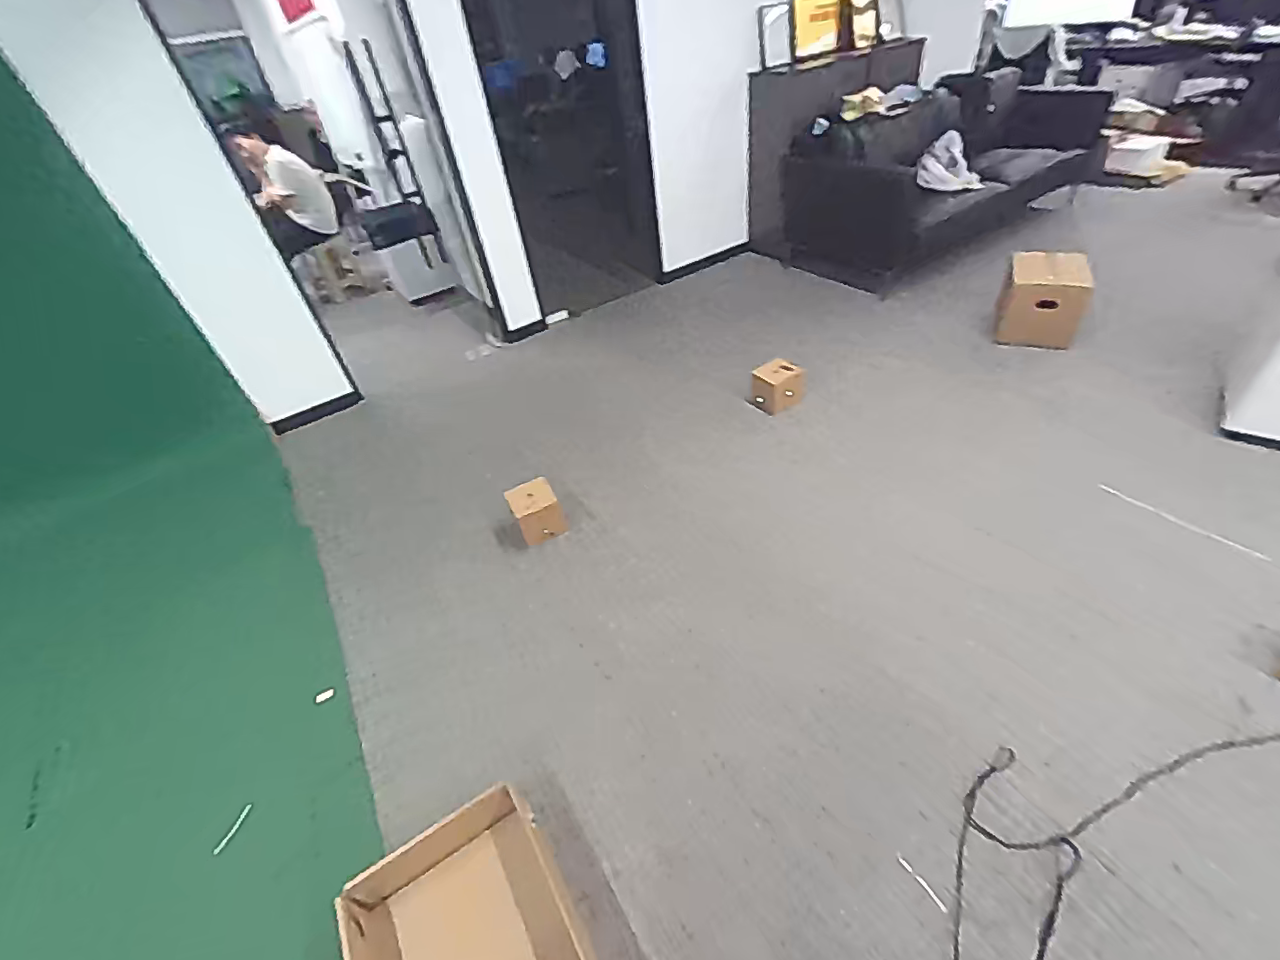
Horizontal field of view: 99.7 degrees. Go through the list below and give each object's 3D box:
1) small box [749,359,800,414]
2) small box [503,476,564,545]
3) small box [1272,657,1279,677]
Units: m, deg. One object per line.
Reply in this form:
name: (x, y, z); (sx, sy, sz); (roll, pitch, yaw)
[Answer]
small box: (0.633, -0.441, 2.559); (0.179, 0.176, 0.168); (-28, 44, -19)
small box: (-0.413, 0.120, 2.105); (0.168, 0.176, 0.179); (-24, 43, -16)
small box: (1.736, 0.444, 1.327); (0.168, 0.176, 0.179); (-30, 44, -22)
